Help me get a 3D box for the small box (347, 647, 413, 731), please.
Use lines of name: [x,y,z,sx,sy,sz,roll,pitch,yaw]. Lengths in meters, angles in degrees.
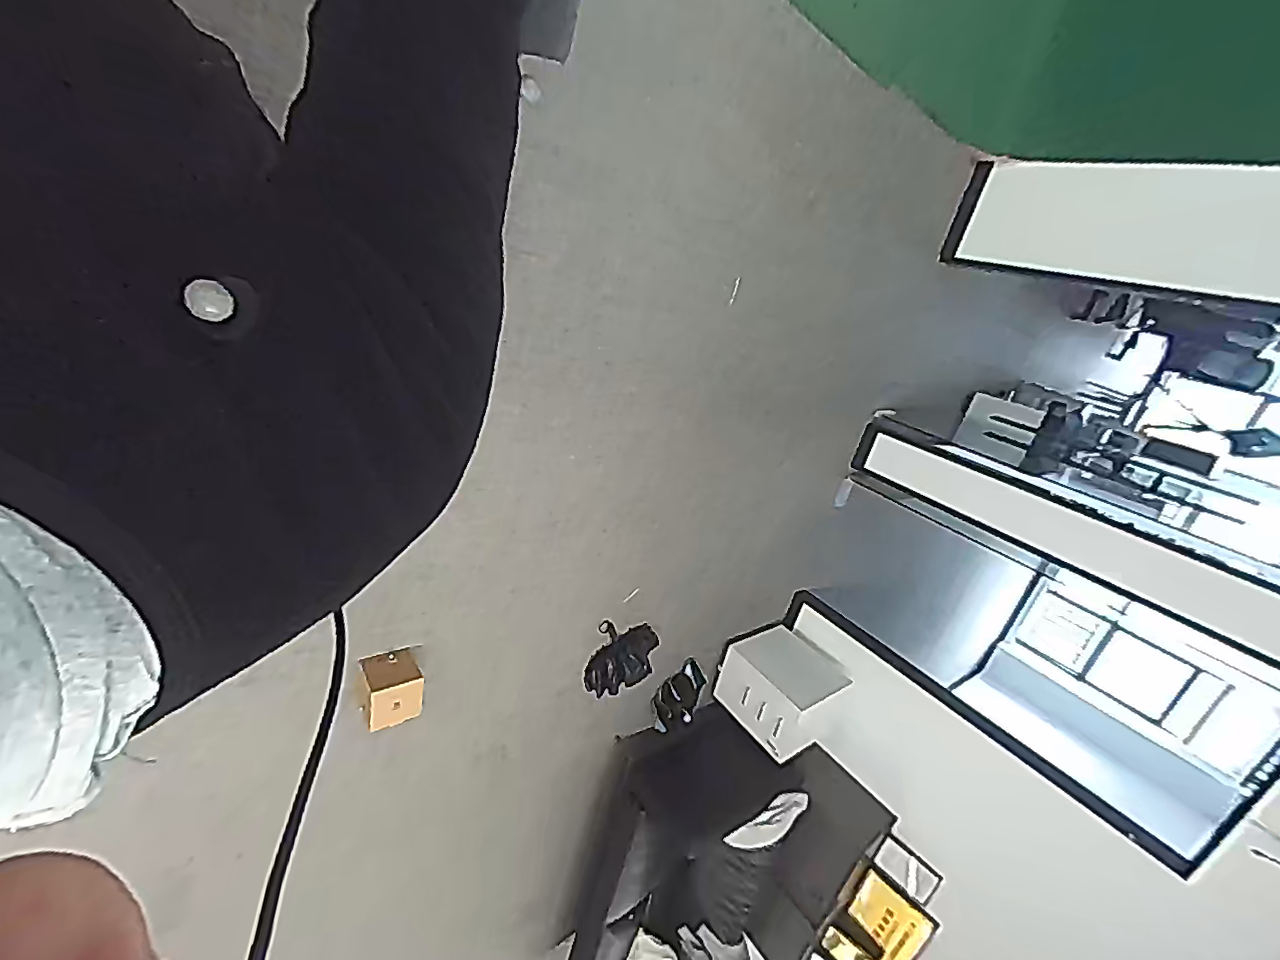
small box: [-0.890,0.706,1.843,0.168,0.176,0.179,-8,119,-40]
